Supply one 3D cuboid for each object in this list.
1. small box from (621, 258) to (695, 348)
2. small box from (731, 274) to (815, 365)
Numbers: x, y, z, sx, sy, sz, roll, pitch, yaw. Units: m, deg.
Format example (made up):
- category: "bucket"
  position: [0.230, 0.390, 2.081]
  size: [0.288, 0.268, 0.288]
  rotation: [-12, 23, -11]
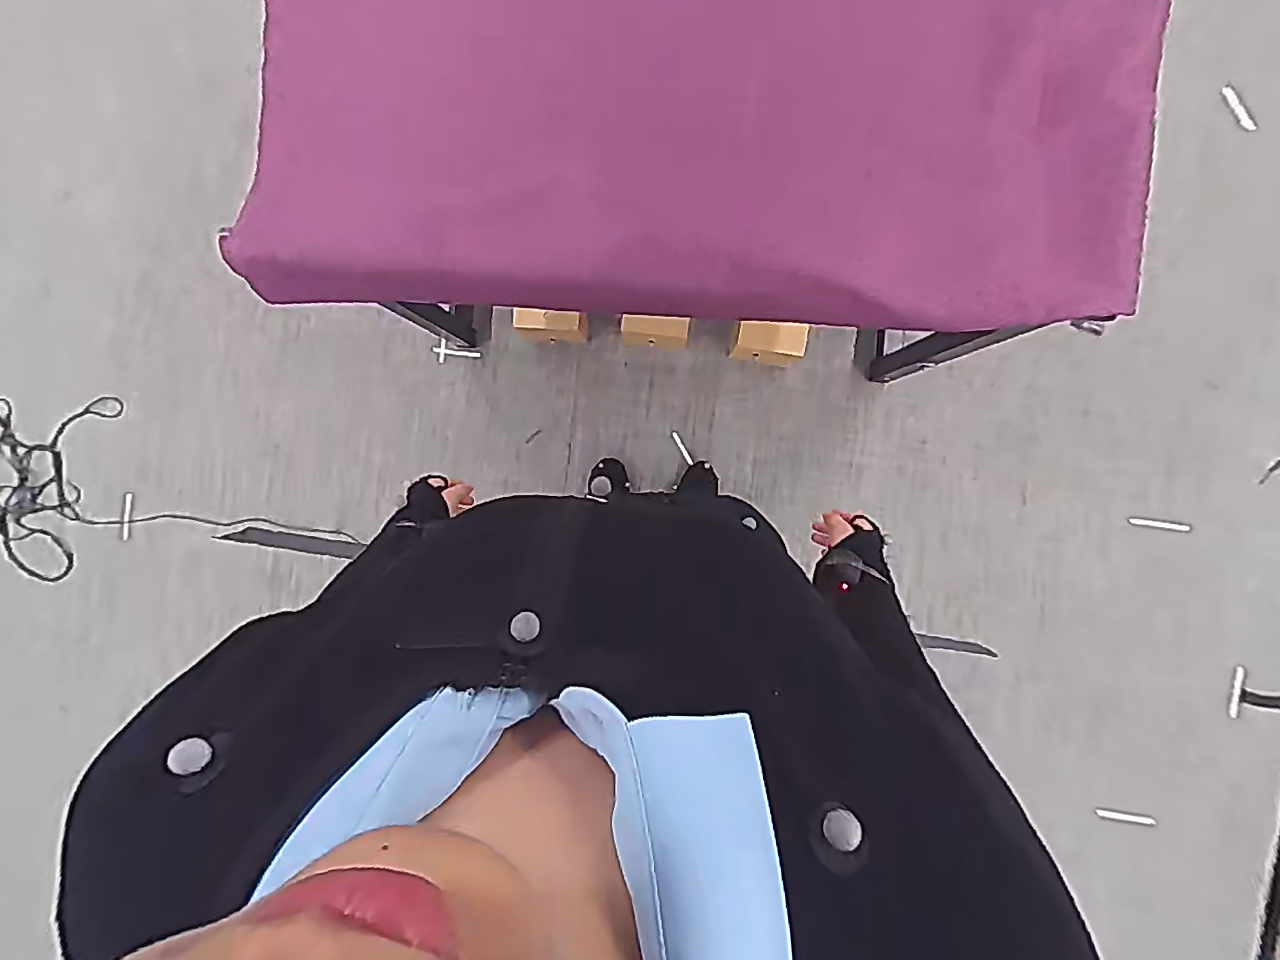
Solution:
- category: "small box"
  position: [0.048, -0.449, 1.400]
  size: [0.168, 0.176, 0.179]
  rotation: [8, 92, 2]
- category: "small box"
  position: [0.334, -0.404, 1.392]
  size: [0.168, 0.176, 0.179]
  rotation: [10, 92, 2]
